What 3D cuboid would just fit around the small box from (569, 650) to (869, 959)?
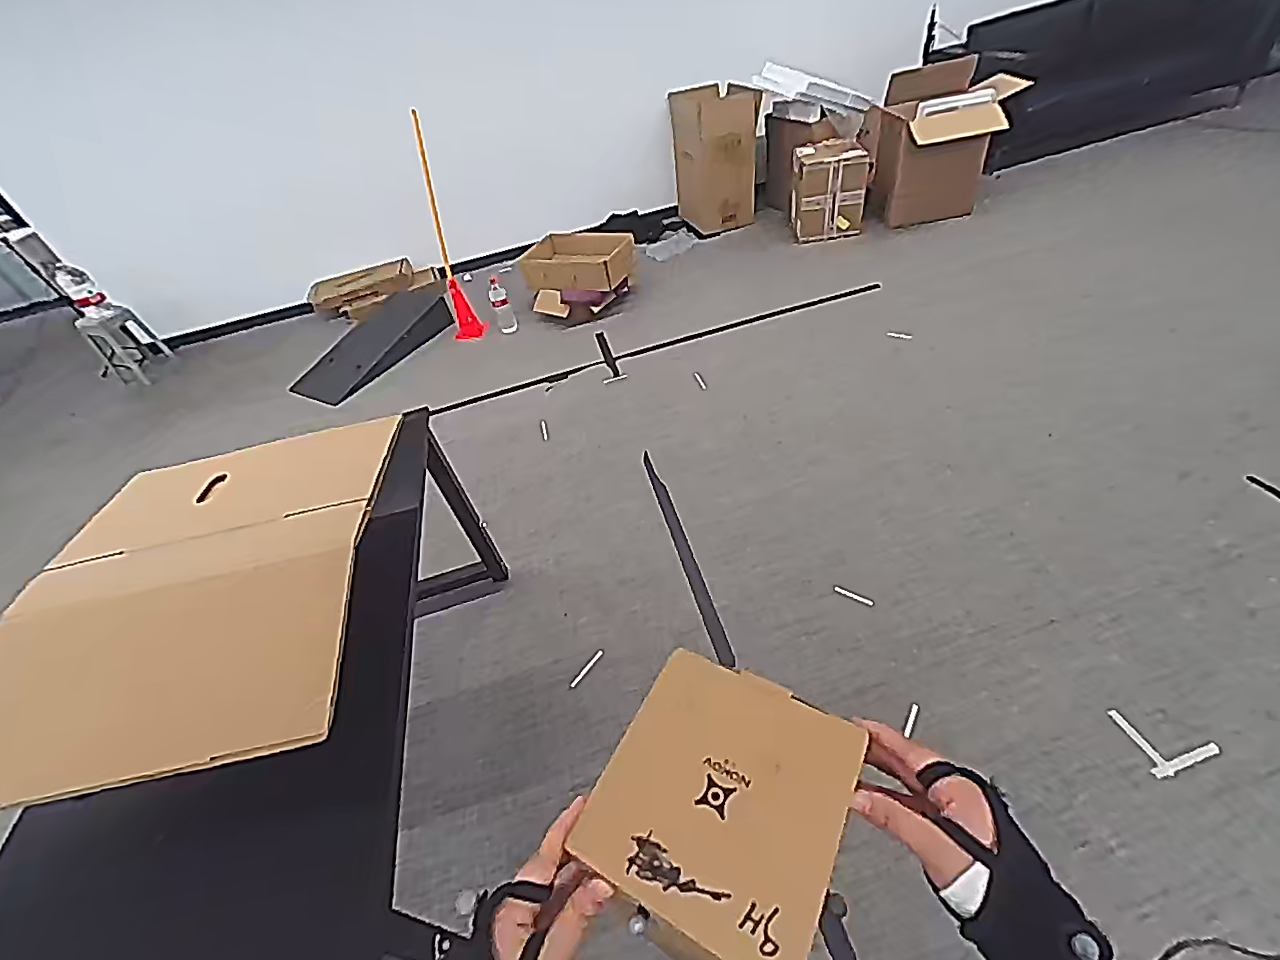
[{"bbox_3d":[0.071,0.281,0.440,0.168,0.176,0.179,15,45,29],"label":"small box"}]
